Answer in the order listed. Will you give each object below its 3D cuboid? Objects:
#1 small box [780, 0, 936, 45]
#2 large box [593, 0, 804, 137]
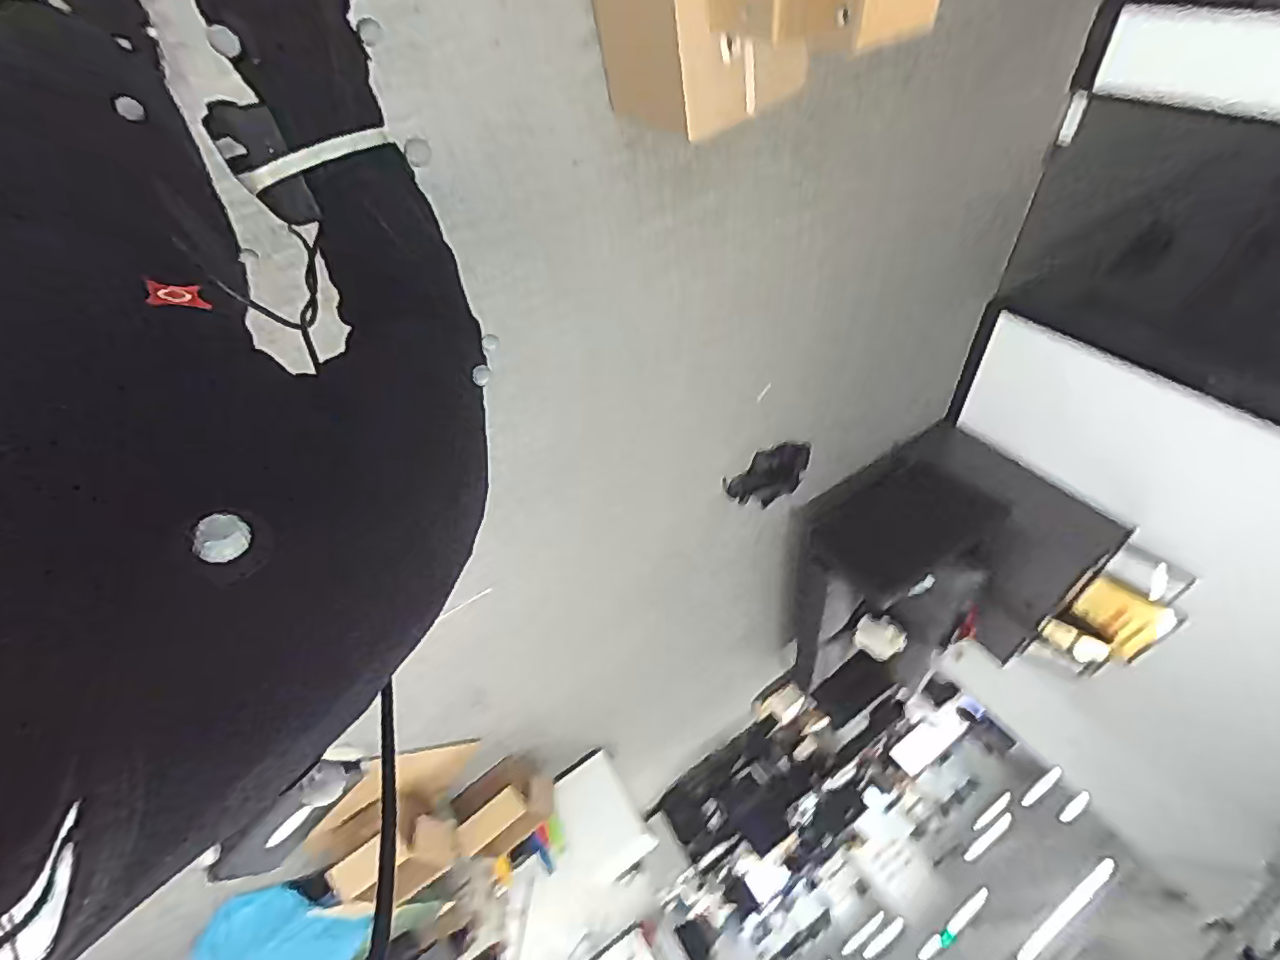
[{"bbox_3d":[0.322,-0.766,0.784,0.168,0.176,0.179,-29,142,-16],"label":"small box"},{"bbox_3d":[0.105,-0.979,1.057,0.320,0.320,0.408,-31,143,-12],"label":"large box"}]
